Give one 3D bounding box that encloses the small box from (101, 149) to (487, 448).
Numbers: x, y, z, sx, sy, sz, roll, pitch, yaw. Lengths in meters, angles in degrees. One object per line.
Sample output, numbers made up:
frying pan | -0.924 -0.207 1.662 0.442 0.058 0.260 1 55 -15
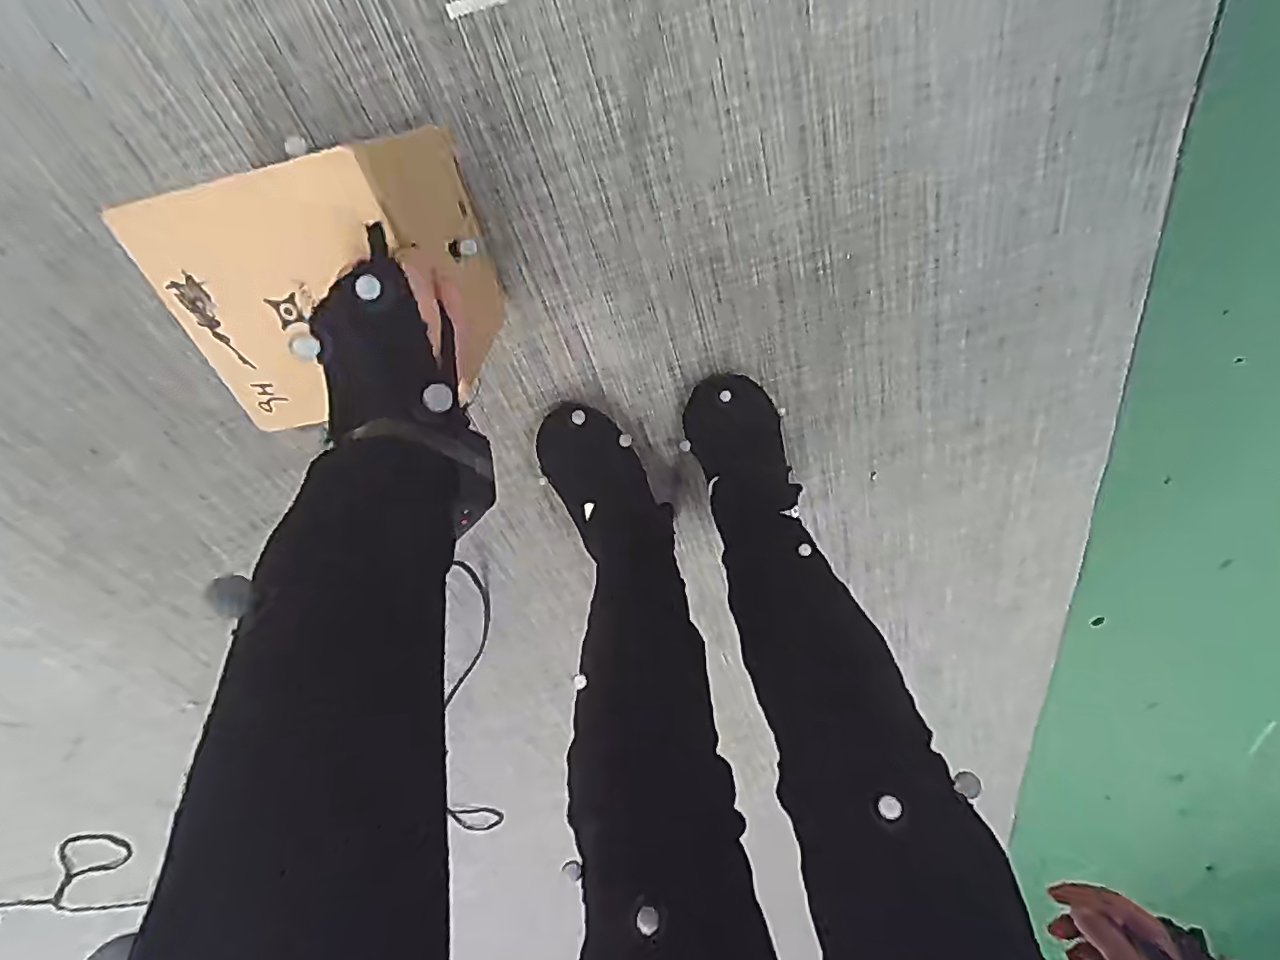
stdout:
small box | -0.239 -0.151 0.438 0.179 0.176 0.168 -10 126 7
